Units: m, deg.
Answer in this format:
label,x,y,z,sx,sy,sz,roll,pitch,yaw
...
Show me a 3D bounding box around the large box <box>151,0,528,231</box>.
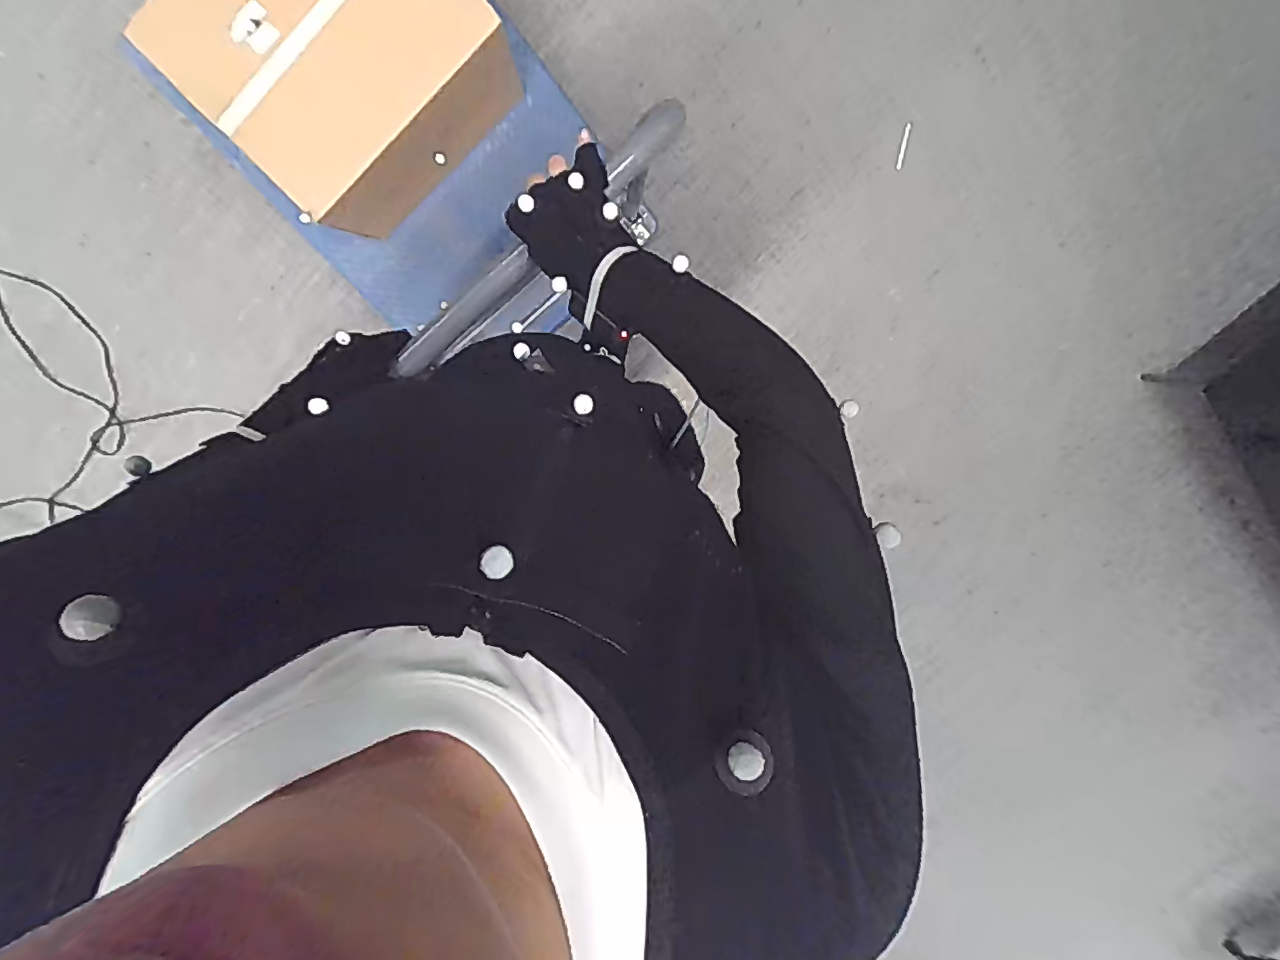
label,x,y,z,sx,sy,sz,roll,pitch,yaw
large box,-0.442,-0.687,0.895,0.408,0.320,0.320,-41,108,9
